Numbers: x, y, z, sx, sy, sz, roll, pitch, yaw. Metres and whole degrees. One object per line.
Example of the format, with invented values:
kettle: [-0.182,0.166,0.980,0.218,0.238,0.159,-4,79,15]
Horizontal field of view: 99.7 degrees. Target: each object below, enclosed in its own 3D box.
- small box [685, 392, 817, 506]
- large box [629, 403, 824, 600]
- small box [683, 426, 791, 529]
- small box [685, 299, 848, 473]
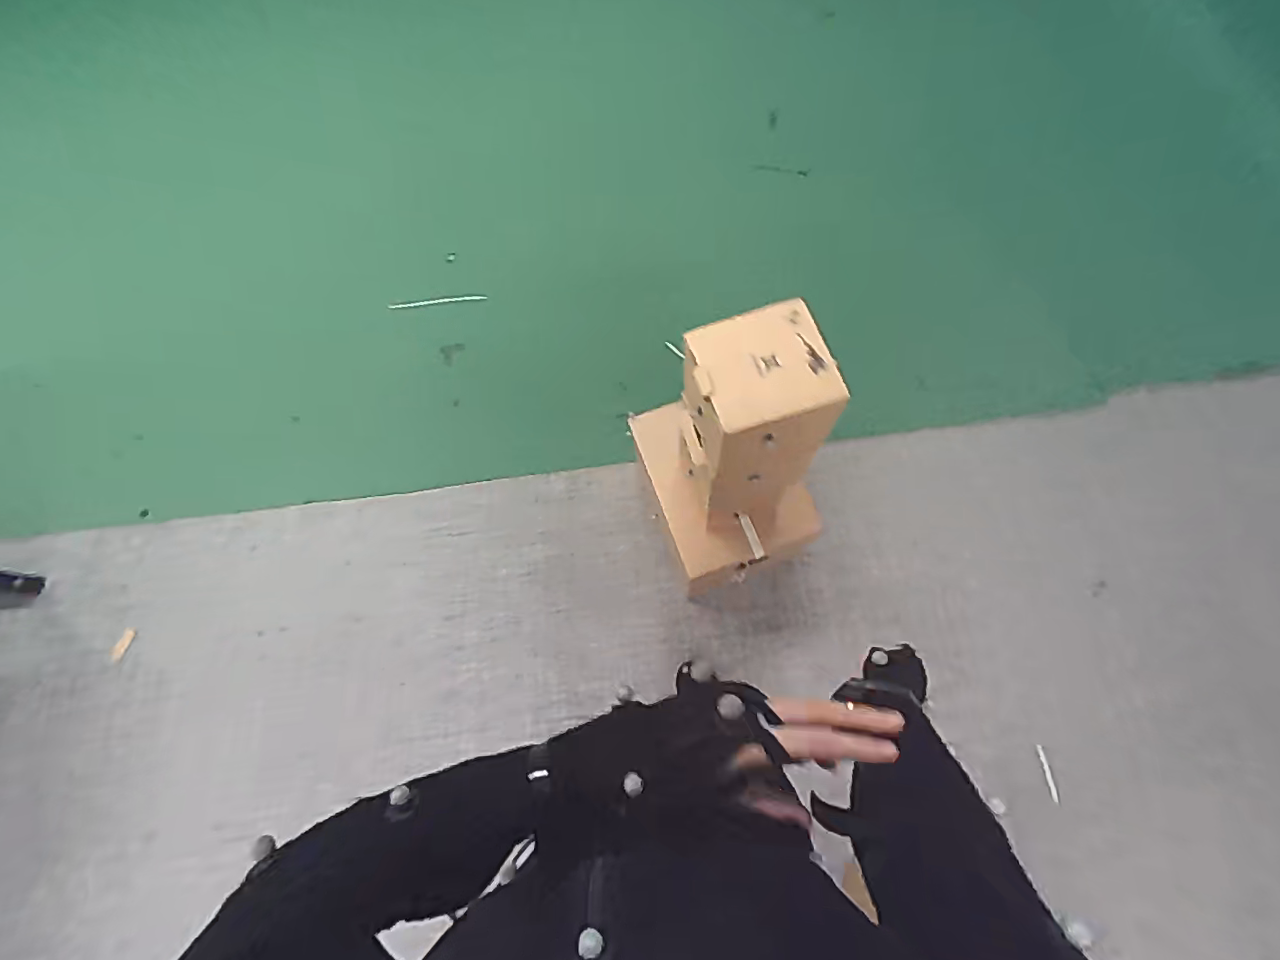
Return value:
small box: [0.184,-0.067,0.950,0.179,0.176,0.168,-15,70,-1]
large box: [0.195,0.040,1.345,0.320,0.320,0.408,-20,69,-4]
small box: [0.189,-0.020,1.107,0.168,0.176,0.179,-17,70,-1]
small box: [0.175,-0.128,0.797,0.179,0.176,0.168,-17,70,0]
